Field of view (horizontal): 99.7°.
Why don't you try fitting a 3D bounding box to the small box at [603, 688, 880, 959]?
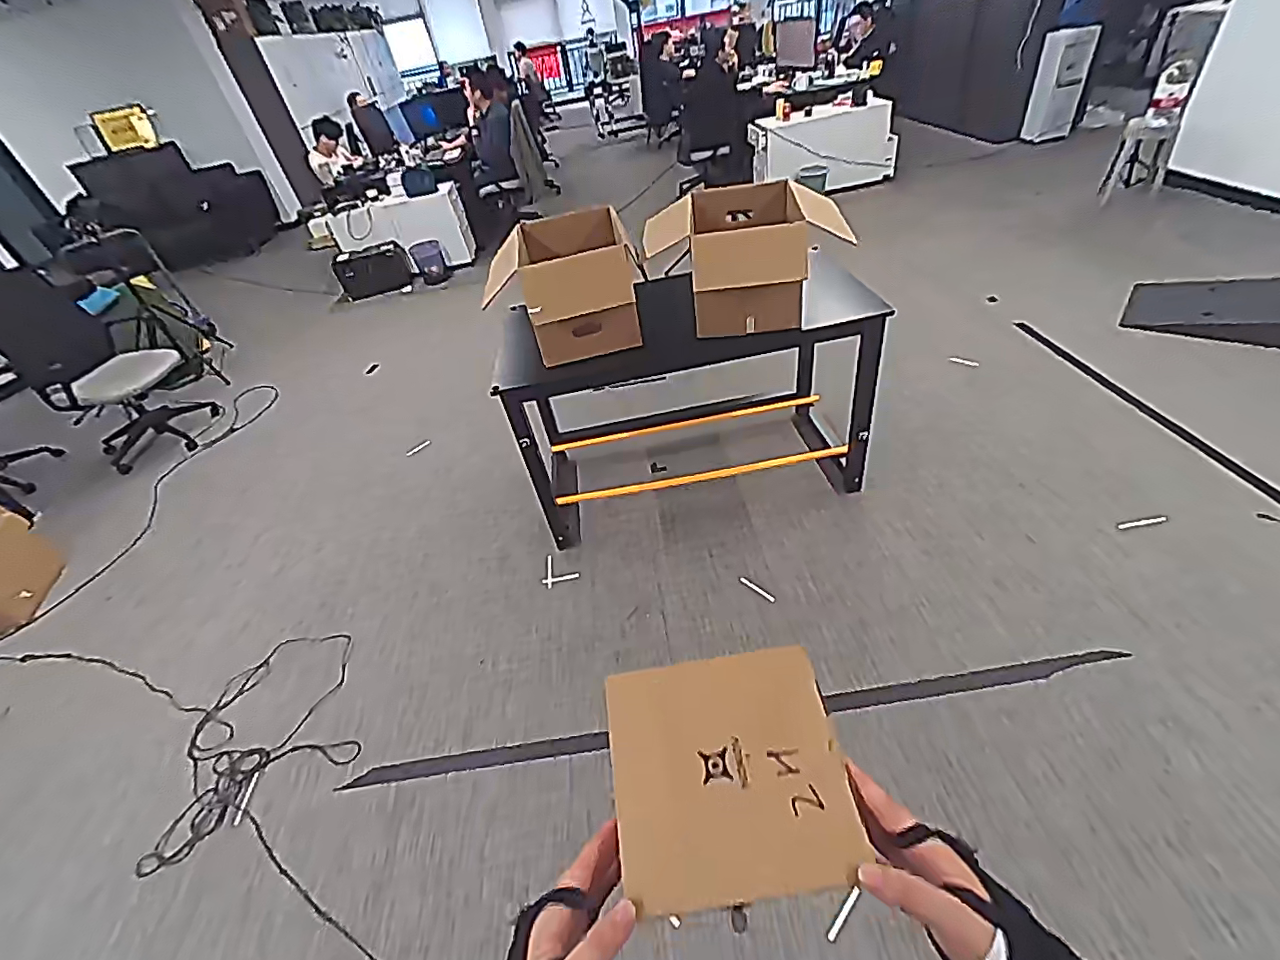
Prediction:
[{"bbox_3d":[0.071,0.297,0.462,0.179,0.176,0.168,-8,52,0],"label":"small box"}]
